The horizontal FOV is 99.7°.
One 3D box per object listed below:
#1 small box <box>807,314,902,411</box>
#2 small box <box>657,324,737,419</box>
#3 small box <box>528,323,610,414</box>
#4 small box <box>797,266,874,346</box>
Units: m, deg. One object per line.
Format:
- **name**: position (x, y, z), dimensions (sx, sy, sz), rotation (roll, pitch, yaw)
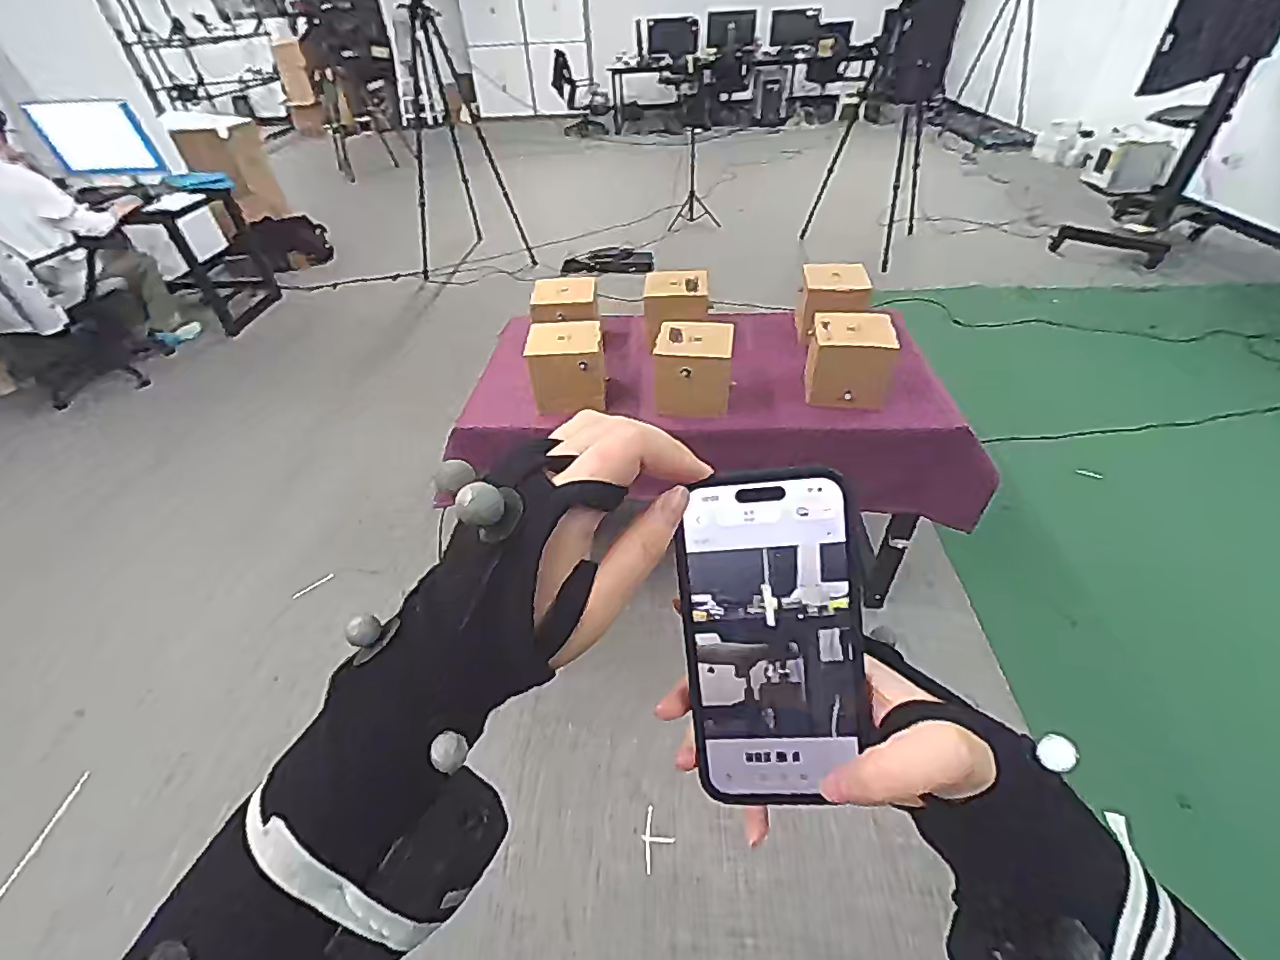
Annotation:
- **small box**: position (0.510, -0.283, 1.312), dimensions (0.179, 0.176, 0.168), rotation (6, 42, 10)
- **small box**: position (0.140, -0.264, 1.319), dimensions (0.179, 0.176, 0.168), rotation (5, 43, 9)
- **small box**: position (-0.171, -0.276, 1.357), dimensions (0.179, 0.176, 0.168), rotation (-2, 42, 0)
- **small box**: position (0.549, -0.494, 1.542), dimensions (0.168, 0.176, 0.179), rotation (3, 43, 8)
